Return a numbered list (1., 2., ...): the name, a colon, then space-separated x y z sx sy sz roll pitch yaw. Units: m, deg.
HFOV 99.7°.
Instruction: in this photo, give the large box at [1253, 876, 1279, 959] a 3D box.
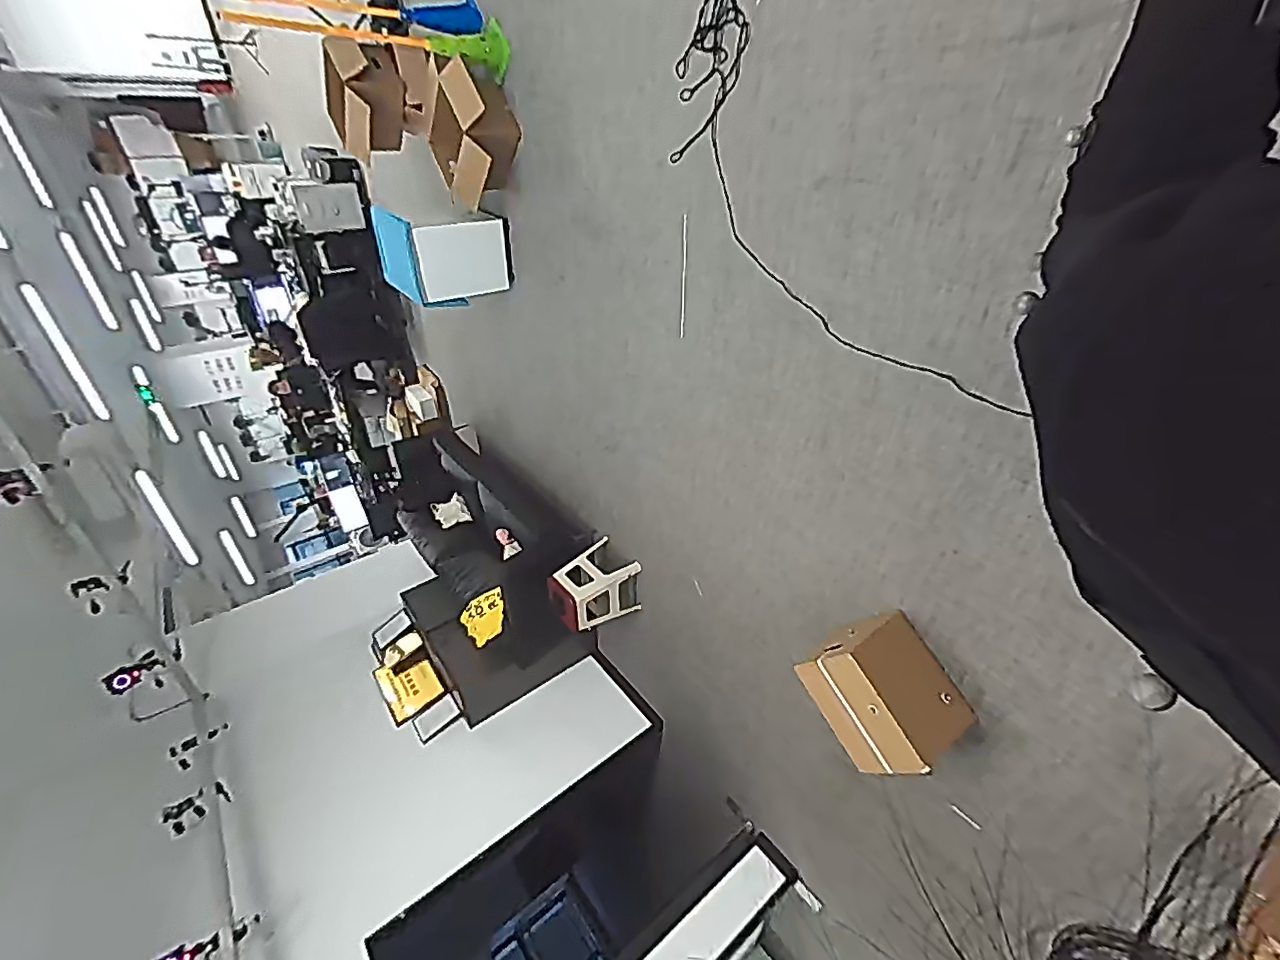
1. large box: 1.506 1.036 1.042 0.408 0.320 0.320 19 126 50
